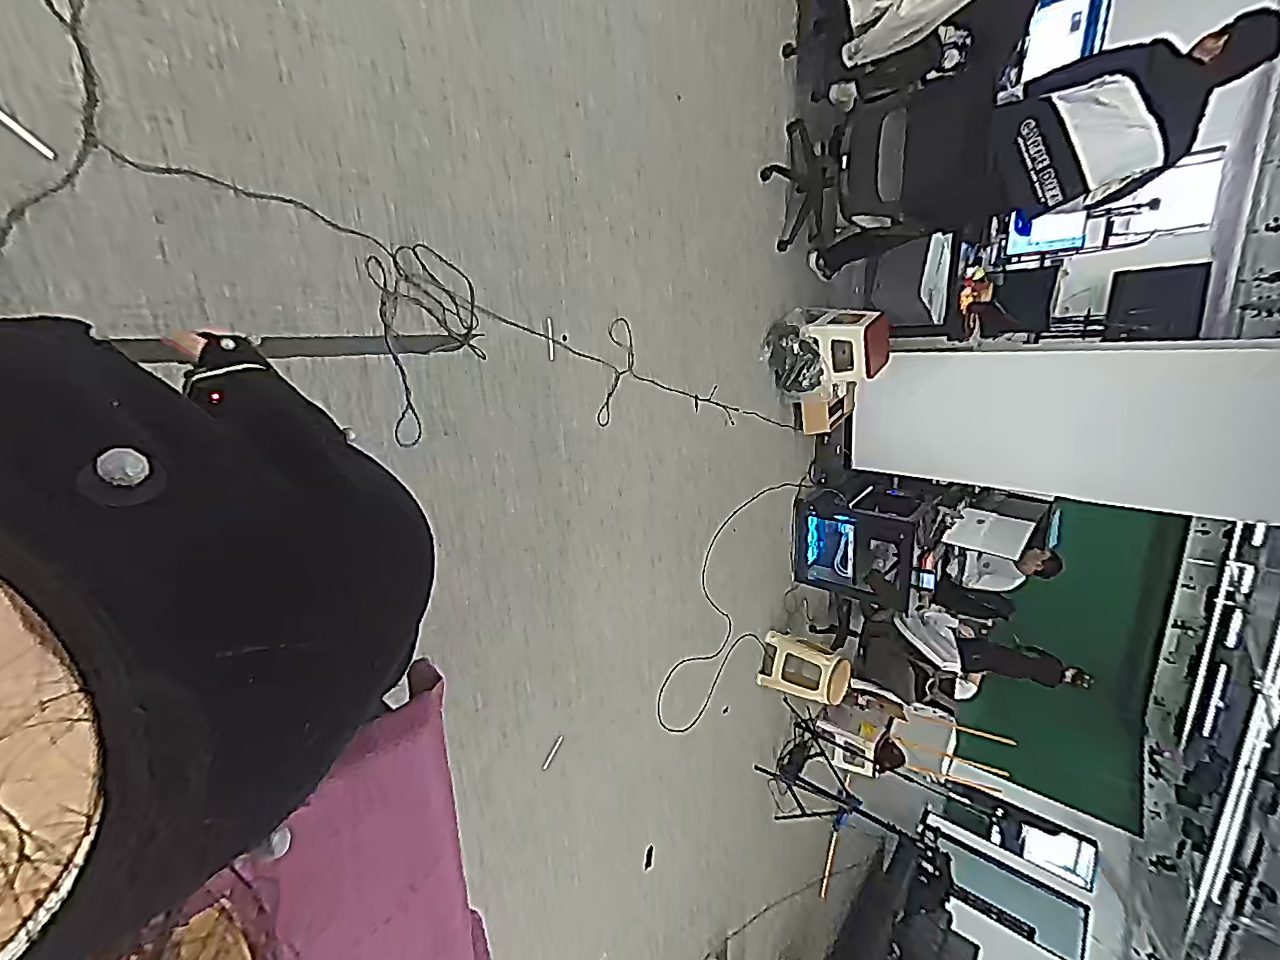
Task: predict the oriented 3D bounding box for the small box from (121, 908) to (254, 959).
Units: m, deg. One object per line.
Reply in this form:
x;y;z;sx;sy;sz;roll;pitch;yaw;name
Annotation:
-0.545;0.658;0.631;0.168;0.176;0.179;-17;111;-46;small box
